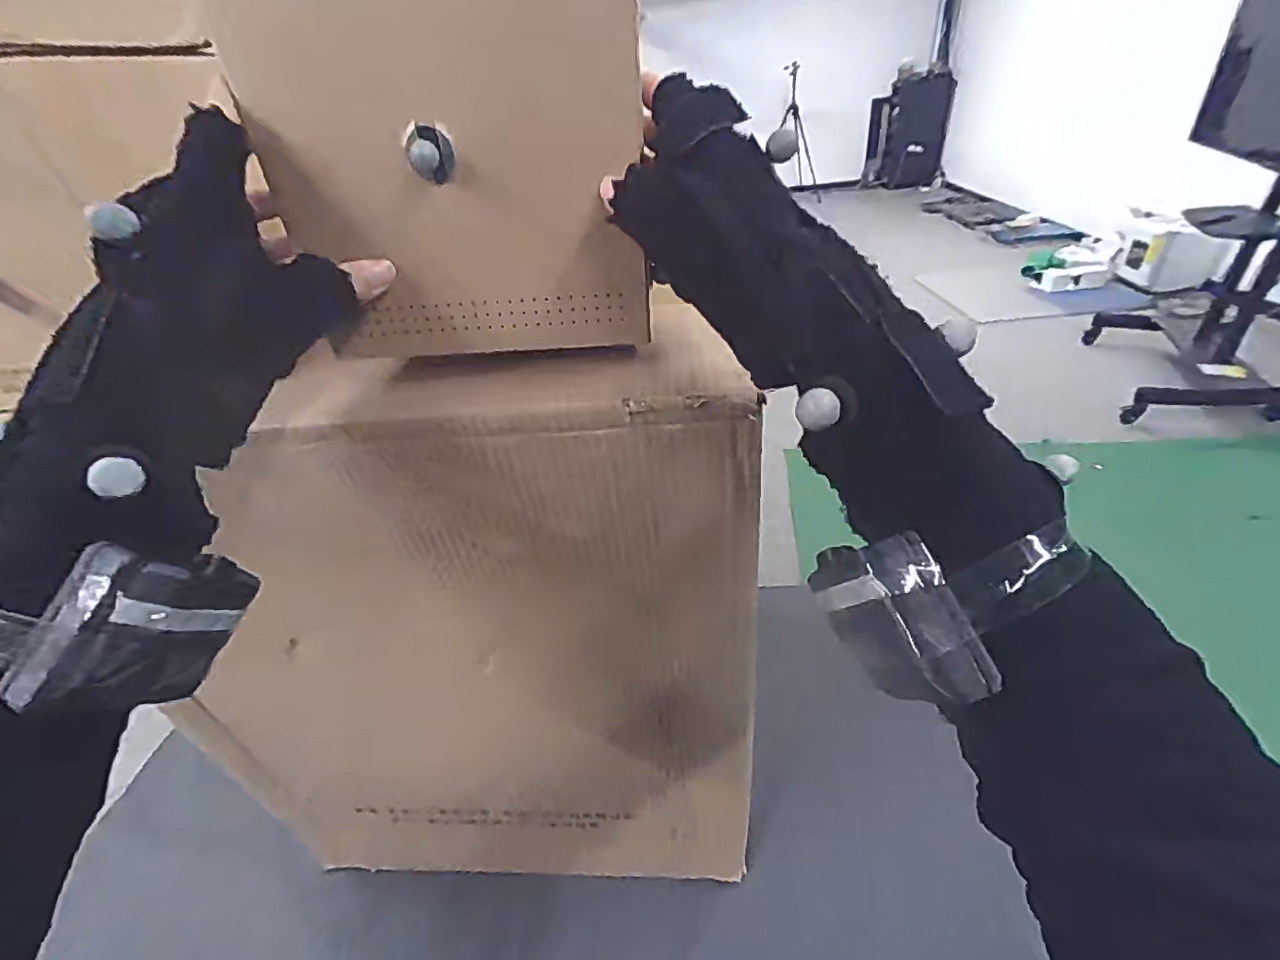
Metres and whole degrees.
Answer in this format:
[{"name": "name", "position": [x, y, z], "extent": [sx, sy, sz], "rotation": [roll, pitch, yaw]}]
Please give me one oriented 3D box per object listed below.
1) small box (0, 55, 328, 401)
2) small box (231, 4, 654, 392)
[{"name": "small box", "position": [-0.347, -0.161, 0.356], "extent": [0.168, 0.176, 0.179], "rotation": [-4, 38, 4]}, {"name": "small box", "position": [-0.080, -0.163, 0.331], "extent": [0.179, 0.176, 0.168], "rotation": [-3, 33, 1]}]
